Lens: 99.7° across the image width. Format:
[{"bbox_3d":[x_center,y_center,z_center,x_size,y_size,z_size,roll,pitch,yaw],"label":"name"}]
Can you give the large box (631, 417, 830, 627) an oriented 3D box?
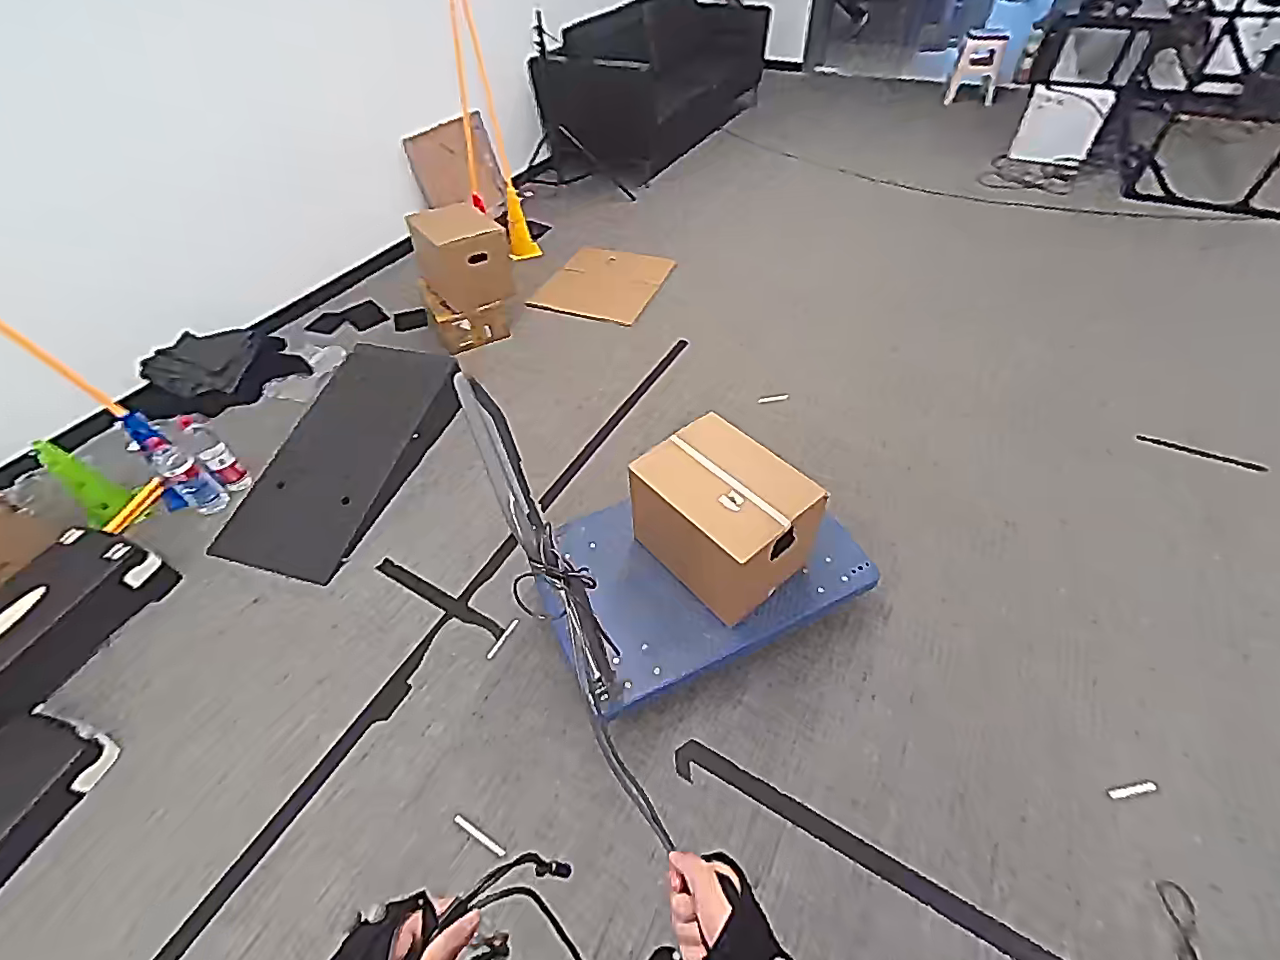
[{"bbox_3d":[0.219,0.104,1.450,0.320,0.320,0.408,-34,56,-23],"label":"large box"}]
